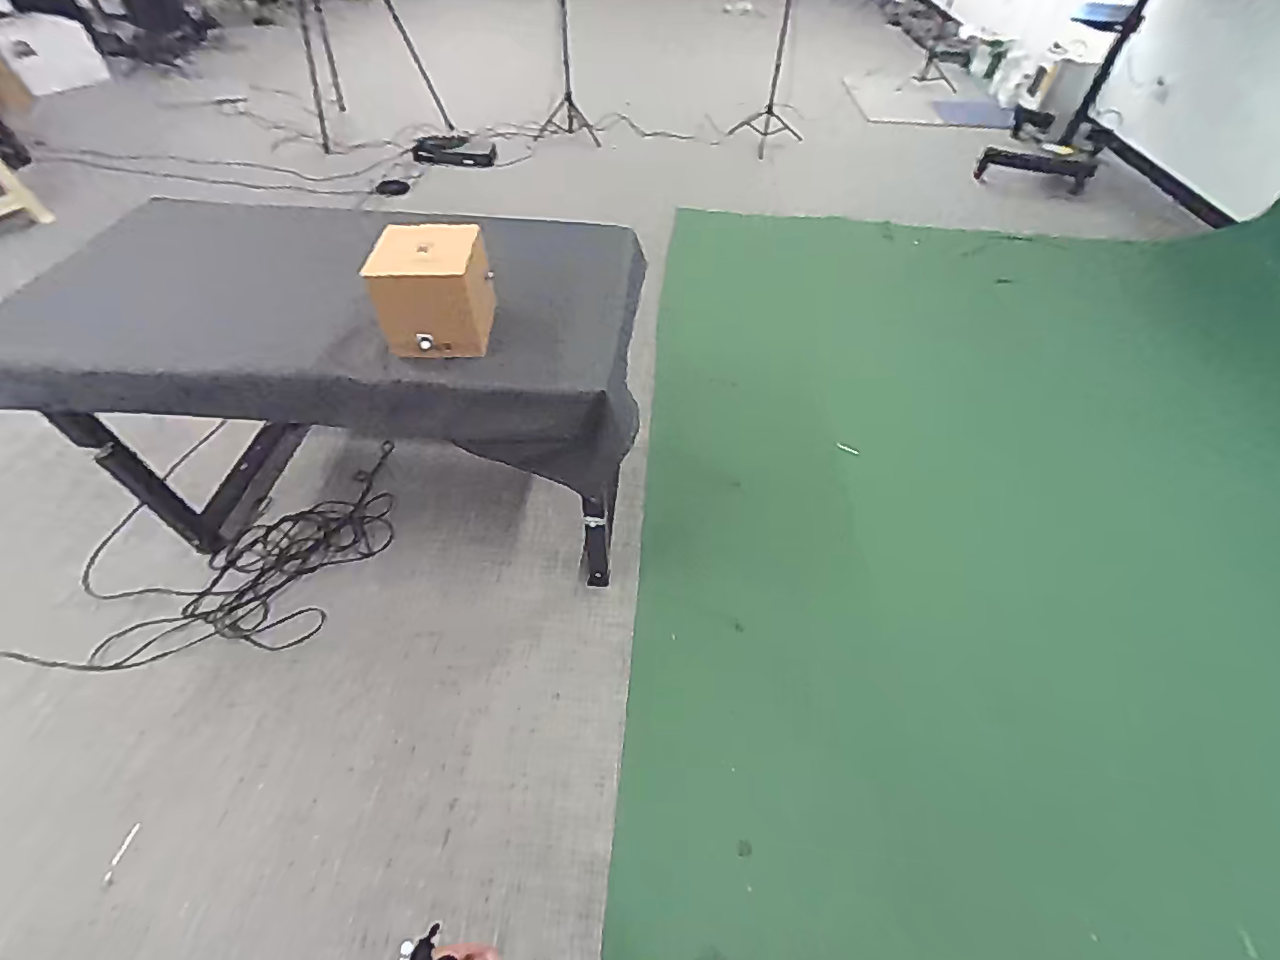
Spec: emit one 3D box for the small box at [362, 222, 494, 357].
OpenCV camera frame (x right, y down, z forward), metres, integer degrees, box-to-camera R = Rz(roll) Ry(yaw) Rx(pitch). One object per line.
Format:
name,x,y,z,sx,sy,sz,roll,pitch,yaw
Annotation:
small box,-0.366,-0.341,0.973,0.168,0.176,0.179,-2,51,-3
